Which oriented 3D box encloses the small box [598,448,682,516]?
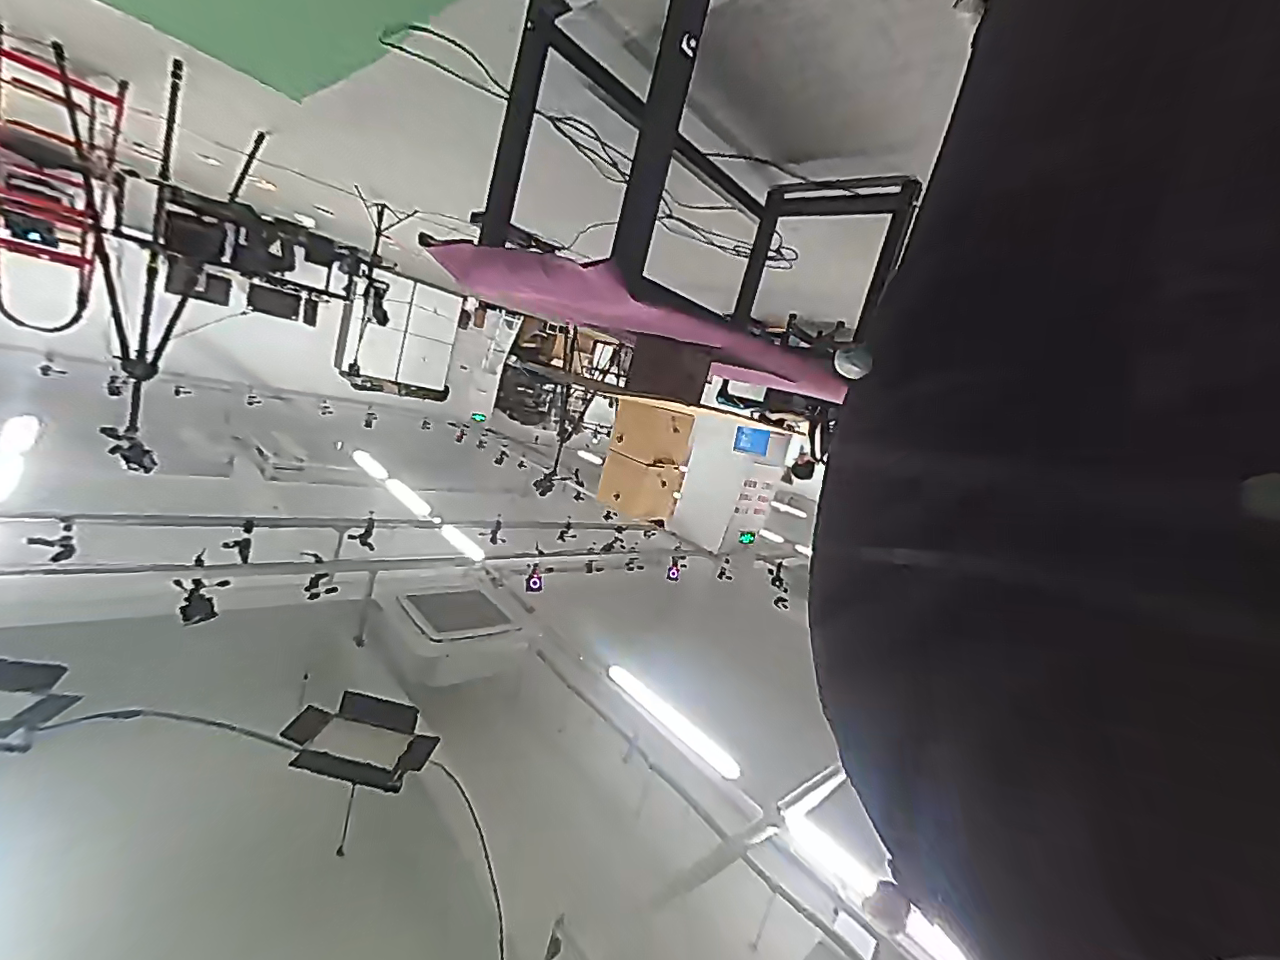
[{"bbox_3d":[0.004,0.000,1.668,0.168,0.176,0.179,5,-165,-47],"label":"small box"}]

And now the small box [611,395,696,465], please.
[{"bbox_3d":[0.044,-0.156,1.643,0.179,0.176,0.168,25,-166,39],"label":"small box"}]
